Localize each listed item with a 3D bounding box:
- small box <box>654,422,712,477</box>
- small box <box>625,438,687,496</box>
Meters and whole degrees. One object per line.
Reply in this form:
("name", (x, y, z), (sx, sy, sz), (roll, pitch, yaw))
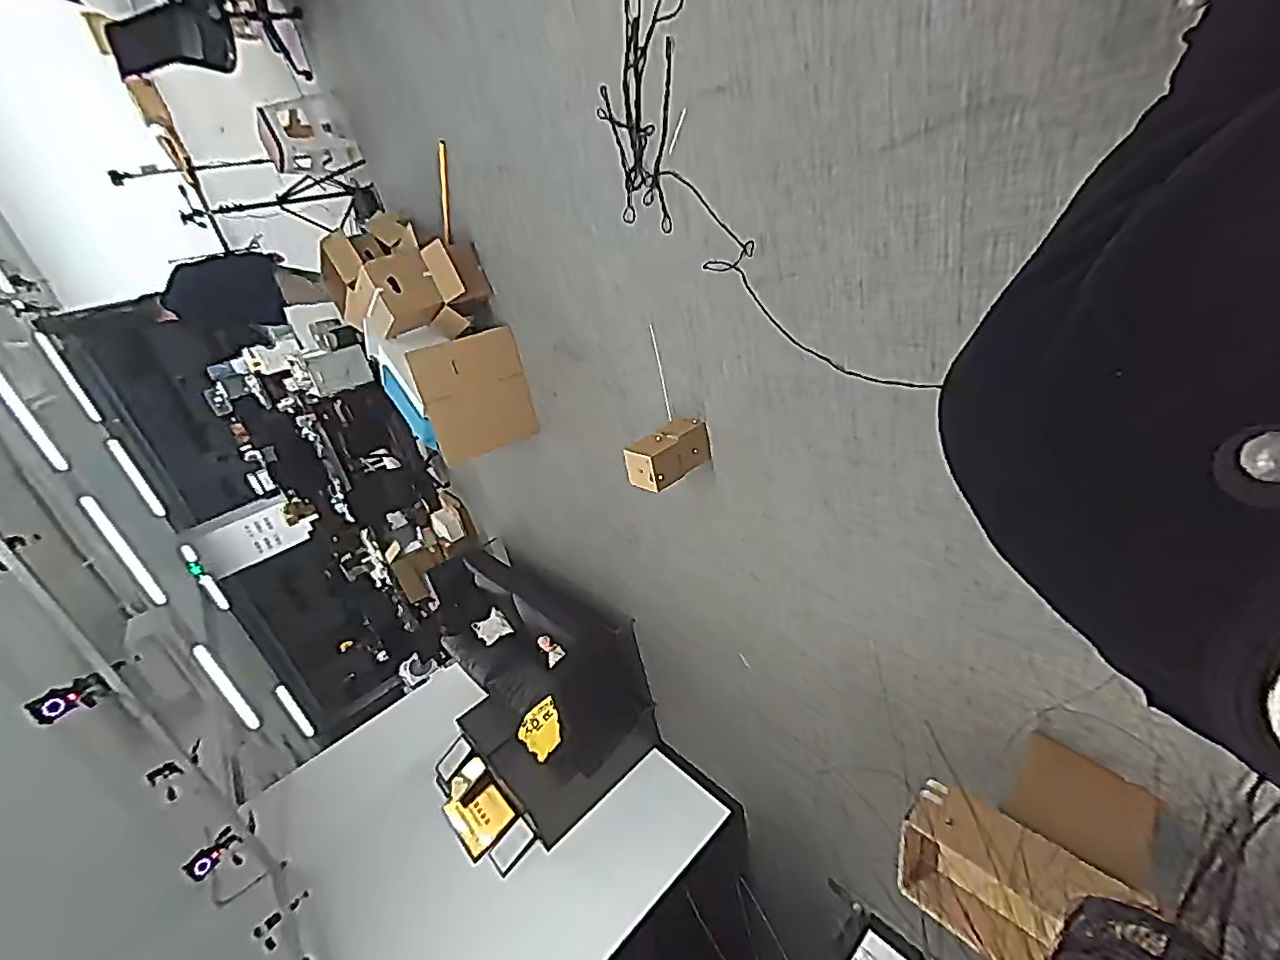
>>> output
("small box", (0.187, -0.137, 2.318), (0.168, 0.176, 0.179), (18, 130, 48))
("small box", (0.069, -0.061, 2.233), (0.179, 0.176, 0.168), (20, 131, 47))
